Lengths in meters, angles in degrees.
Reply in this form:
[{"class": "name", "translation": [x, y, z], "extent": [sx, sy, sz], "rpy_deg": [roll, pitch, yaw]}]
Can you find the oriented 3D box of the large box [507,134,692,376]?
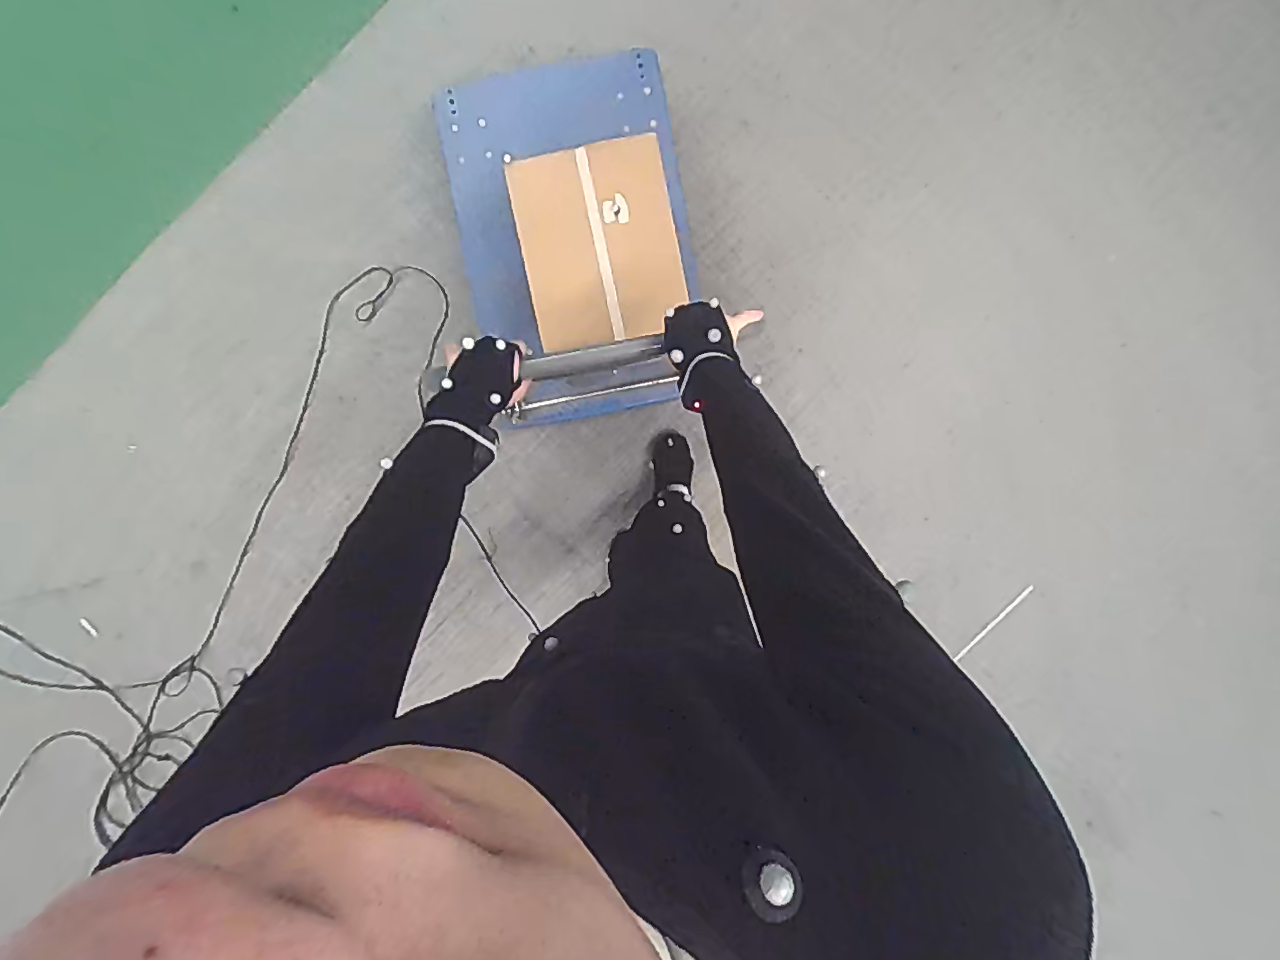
[{"class": "large box", "translation": [-0.082, -0.487, 1.255], "extent": [0.320, 0.320, 0.408], "rpy_deg": [-11, 93, -1]}]
